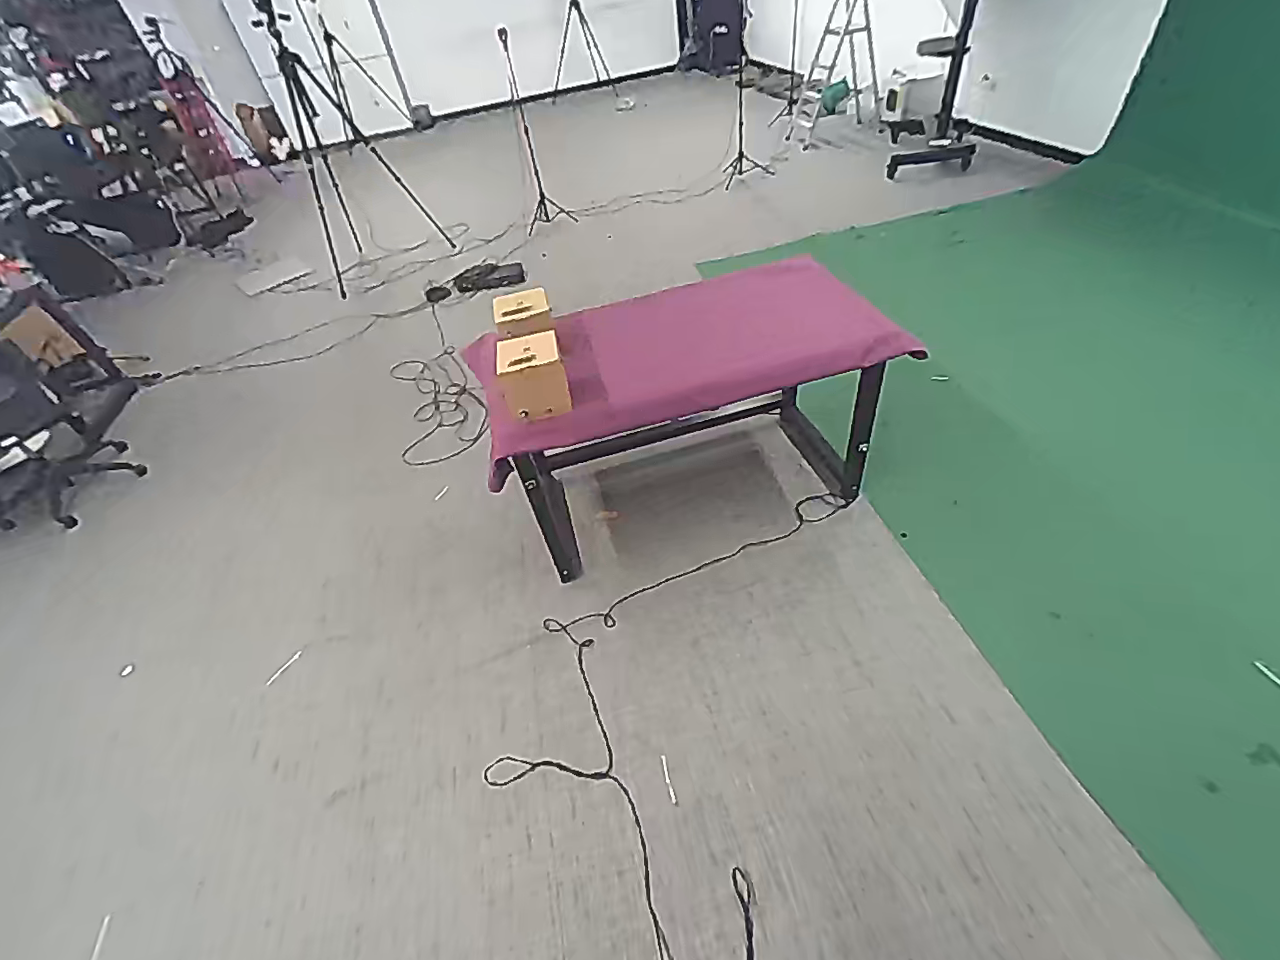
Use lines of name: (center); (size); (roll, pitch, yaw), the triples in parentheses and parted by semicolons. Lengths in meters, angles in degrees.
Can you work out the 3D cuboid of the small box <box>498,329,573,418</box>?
small box: (-0.289, -0.290, 1.503); (0.168, 0.176, 0.179); (-13, 43, -3)
